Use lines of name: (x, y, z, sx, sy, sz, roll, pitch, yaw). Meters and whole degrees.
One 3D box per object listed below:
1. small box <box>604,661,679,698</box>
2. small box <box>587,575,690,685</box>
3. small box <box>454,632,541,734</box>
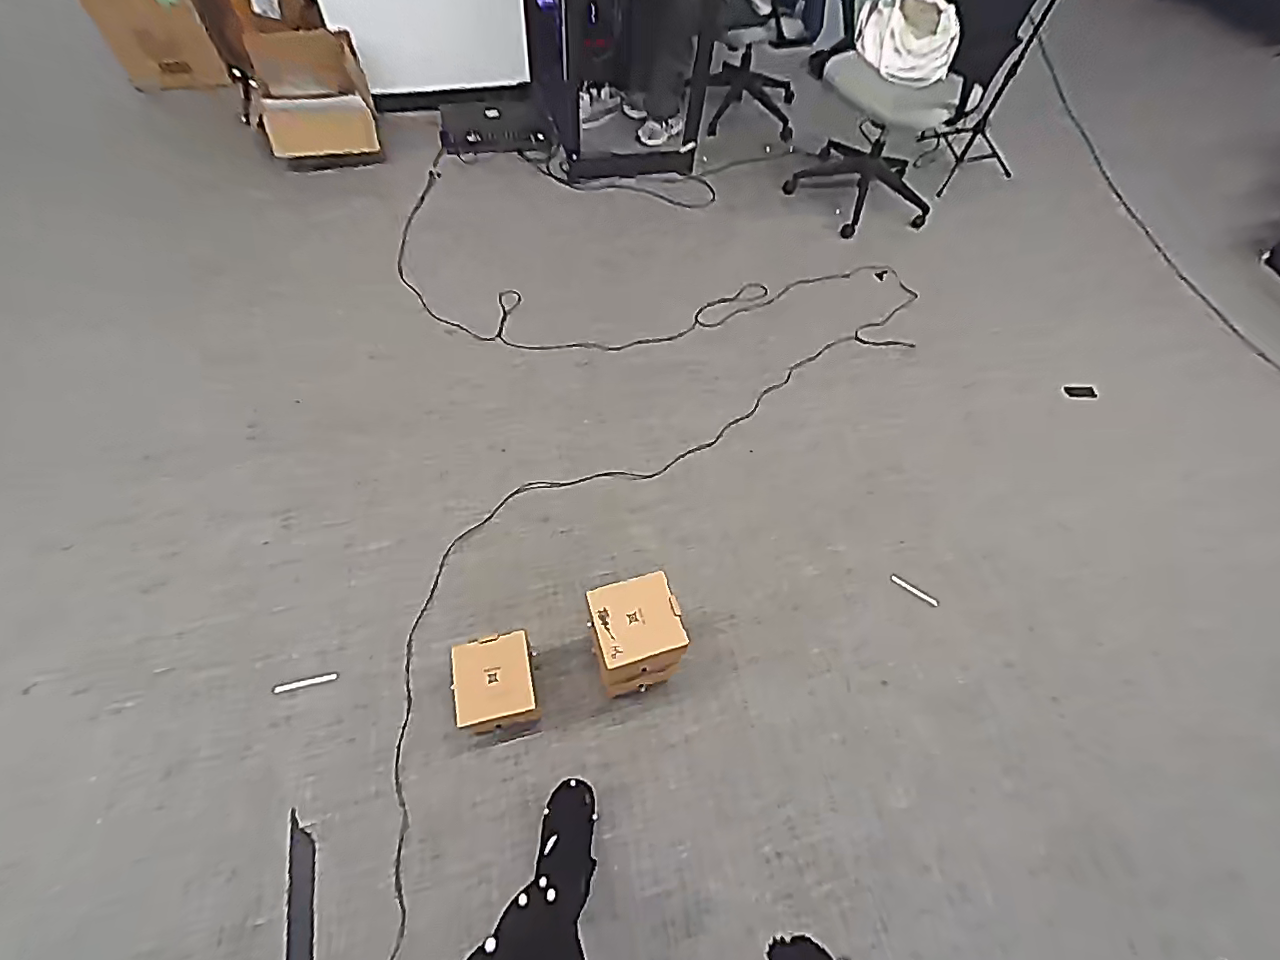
small box: (-0.020, 0.410, 1.315, 0.168, 0.176, 0.179, -13, 63, -12)
small box: (-0.012, 0.328, 1.172, 0.179, 0.176, 0.168, -13, 62, -13)
small box: (-0.328, 0.472, 1.251, 0.168, 0.176, 0.179, -10, 62, -10)
